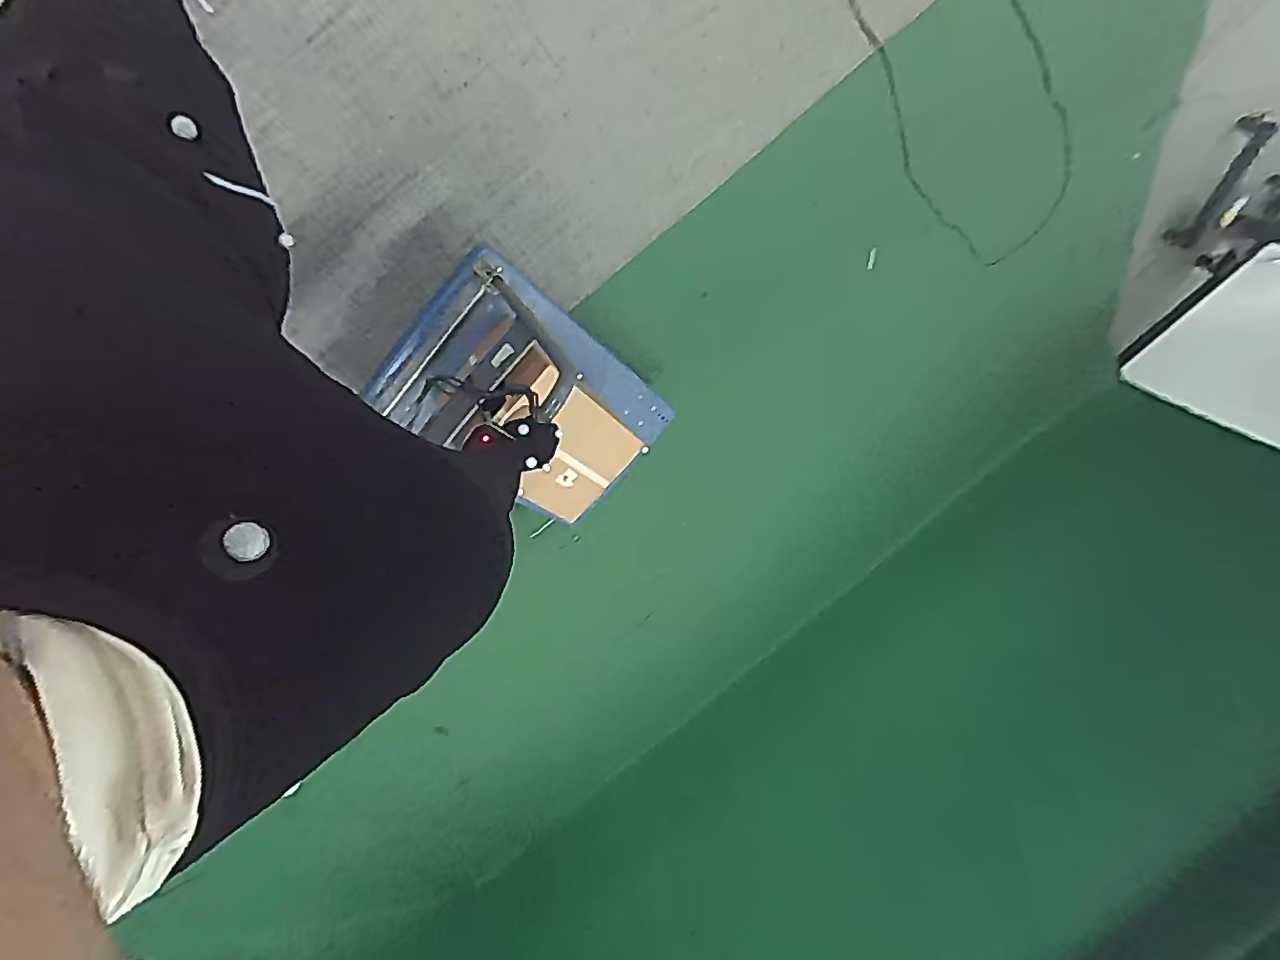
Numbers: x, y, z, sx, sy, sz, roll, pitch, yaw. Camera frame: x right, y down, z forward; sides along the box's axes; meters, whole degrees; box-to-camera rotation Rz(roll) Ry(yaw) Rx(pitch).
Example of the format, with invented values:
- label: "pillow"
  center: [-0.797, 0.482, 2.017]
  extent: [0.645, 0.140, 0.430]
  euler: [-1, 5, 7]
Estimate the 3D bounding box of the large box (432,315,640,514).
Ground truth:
- label: "large box"
  center: [-0.282, -0.171, 1.477]
  extent: [0.320, 0.320, 0.408]
  euler: [-46, 138, 8]
